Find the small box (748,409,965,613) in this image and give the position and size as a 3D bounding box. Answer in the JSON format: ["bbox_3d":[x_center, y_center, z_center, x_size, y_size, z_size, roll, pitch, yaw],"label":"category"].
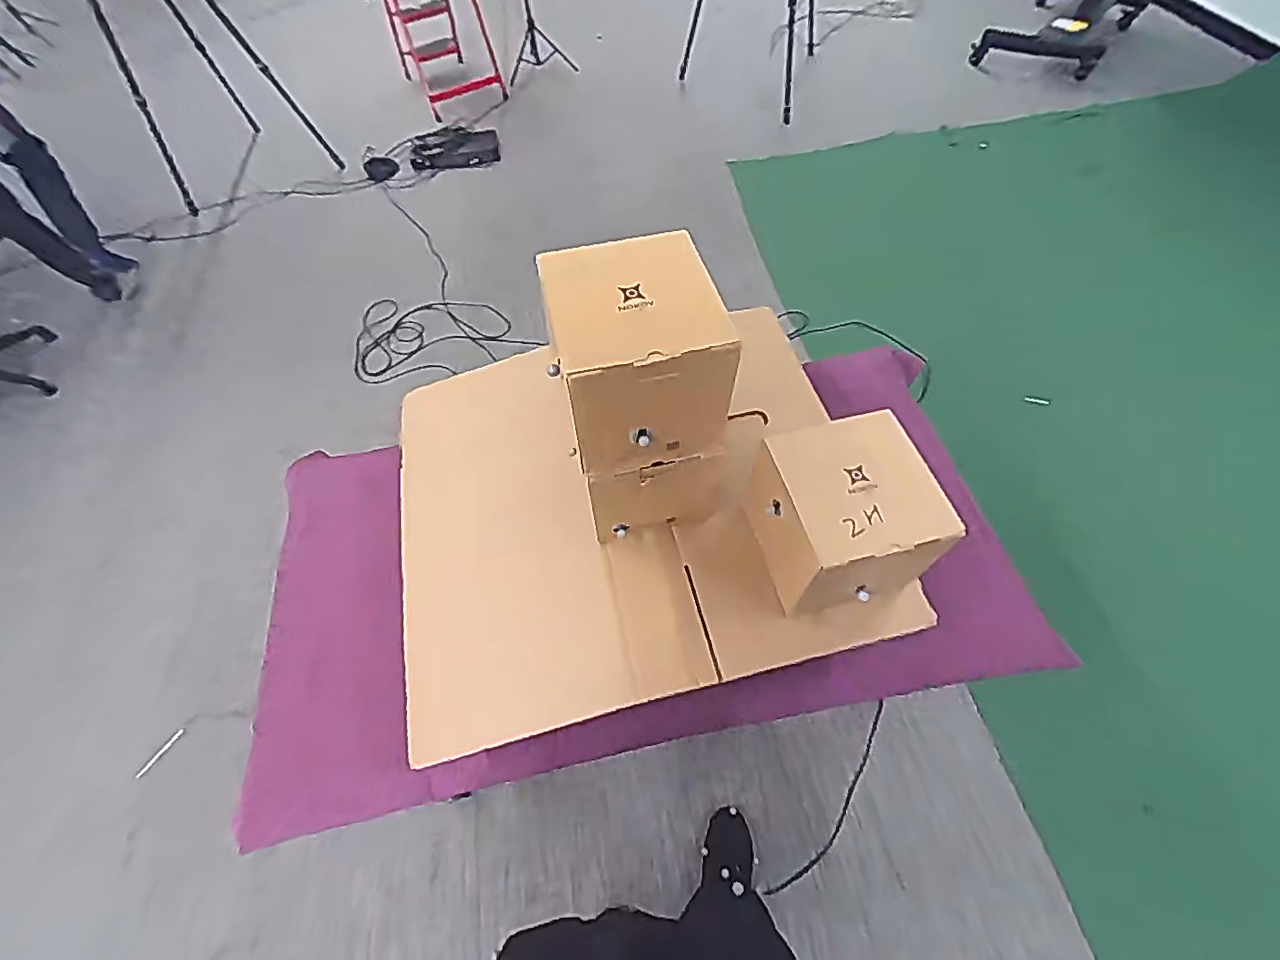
[{"bbox_3d":[0.244,0.042,0.667,0.168,0.176,0.179,-12,59,-5],"label":"small box"}]

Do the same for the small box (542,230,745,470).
[{"bbox_3d":[-0.004,-0.137,0.591,0.168,0.176,0.179,-13,60,-8],"label":"small box"}]

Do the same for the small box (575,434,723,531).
[{"bbox_3d":[0.001,-0.046,0.725,0.168,0.176,0.179,-12,58,-7],"label":"small box"}]
